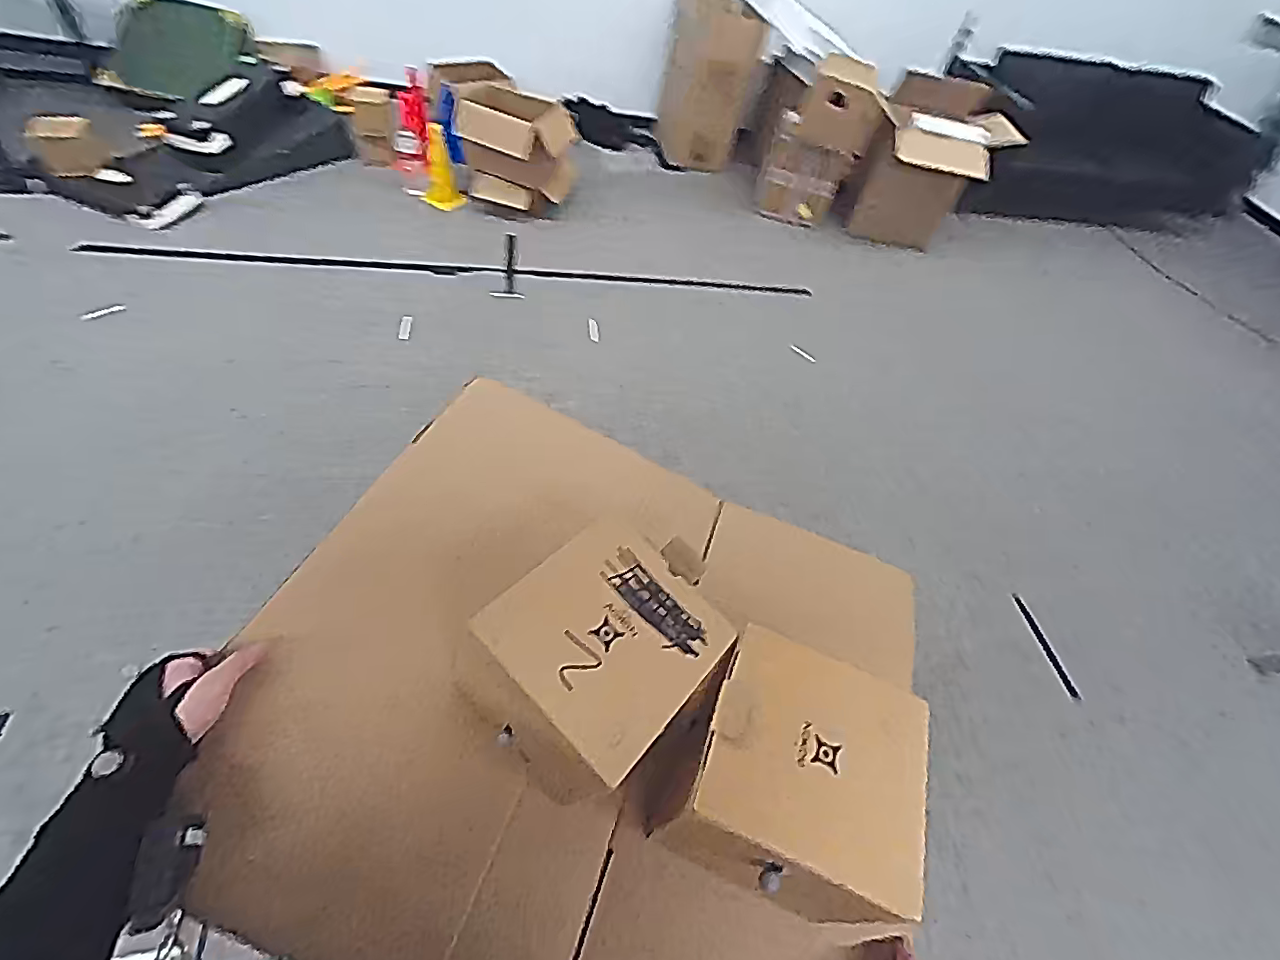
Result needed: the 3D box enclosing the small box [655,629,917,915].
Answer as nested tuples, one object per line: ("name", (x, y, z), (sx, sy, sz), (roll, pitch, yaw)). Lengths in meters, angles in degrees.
("small box", (0.131, 0.275, 0.512), (0.179, 0.176, 0.168), (21, 50, 6))
